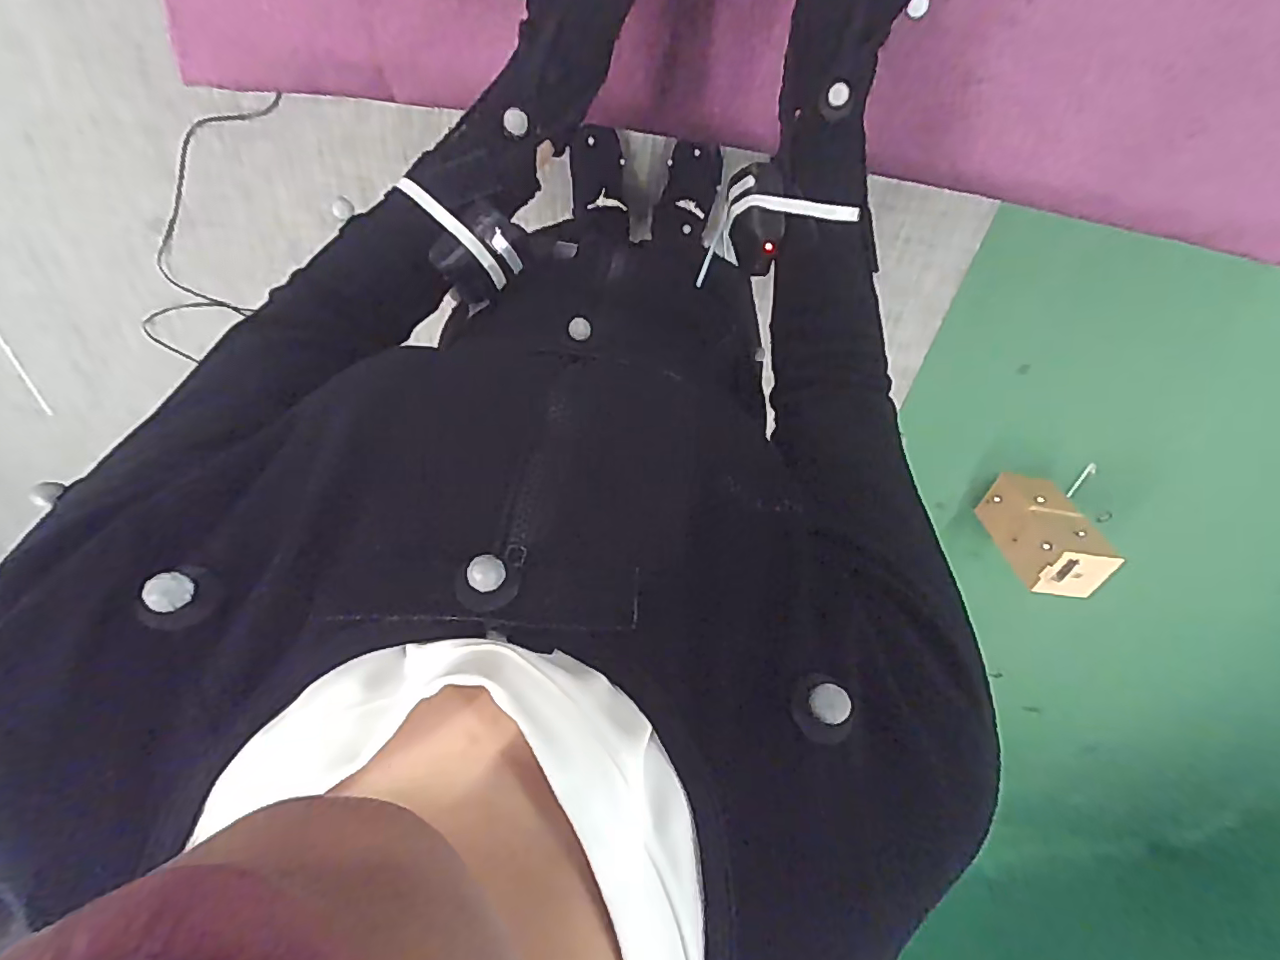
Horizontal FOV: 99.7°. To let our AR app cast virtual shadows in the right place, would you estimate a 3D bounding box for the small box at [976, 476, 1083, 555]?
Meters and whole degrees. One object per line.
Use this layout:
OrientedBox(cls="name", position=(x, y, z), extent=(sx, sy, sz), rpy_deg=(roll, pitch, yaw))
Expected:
OrientedBox(cls="small box", position=(1.196, 0.107, 1.676), extent=(0.179, 0.176, 0.168), rpy_deg=(9, 128, -4))
